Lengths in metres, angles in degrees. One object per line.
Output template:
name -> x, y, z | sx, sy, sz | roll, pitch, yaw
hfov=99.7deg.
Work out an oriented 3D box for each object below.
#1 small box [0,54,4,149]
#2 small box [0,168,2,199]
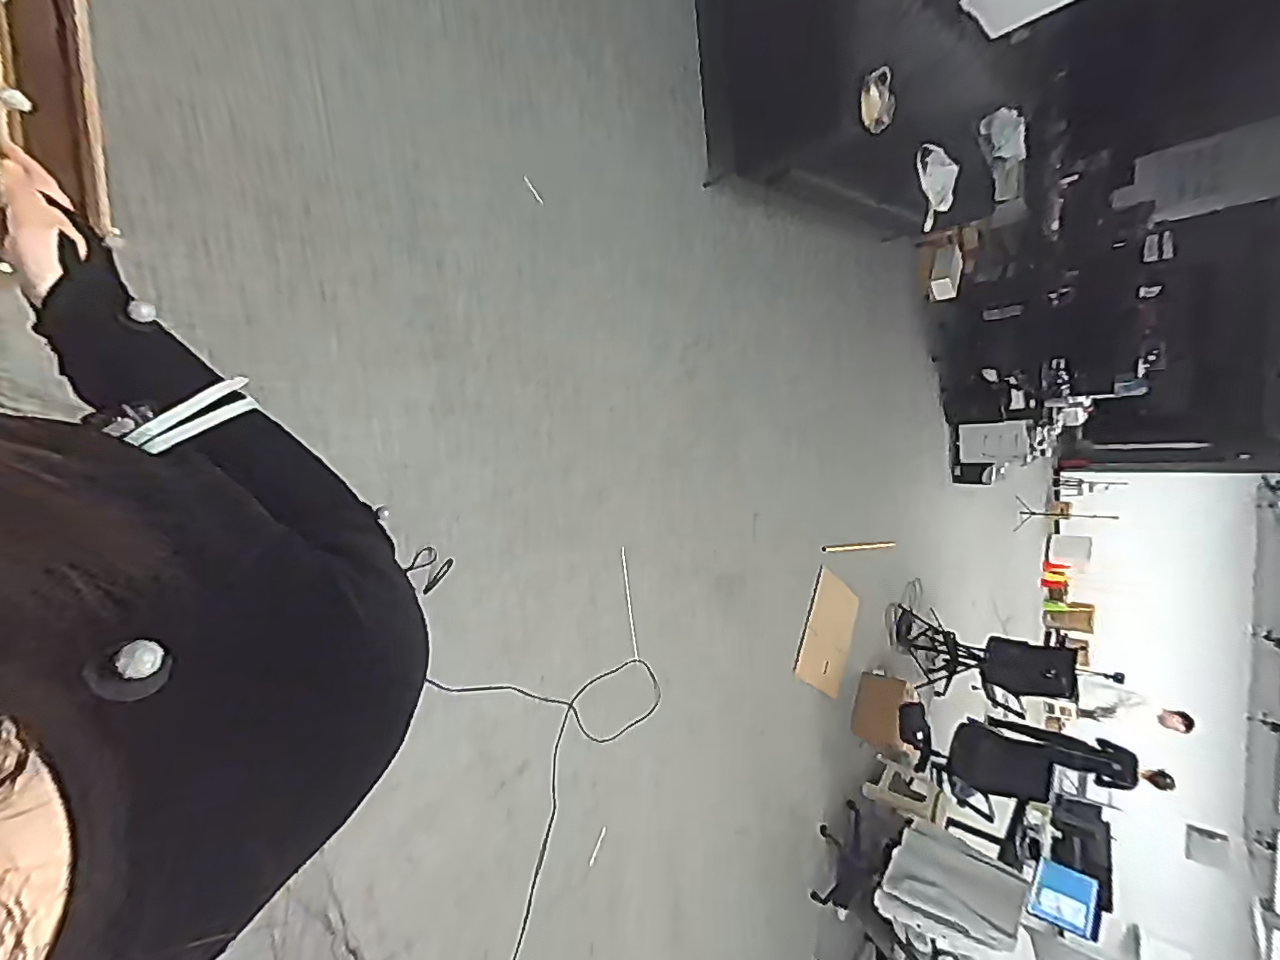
small box -> -0.696, -0.430, 0.471 | 0.168, 0.176, 0.179 | -4, 96, -44
small box -> -0.473, -0.251, 0.279 | 0.179, 0.176, 0.168 | -8, 100, -46
